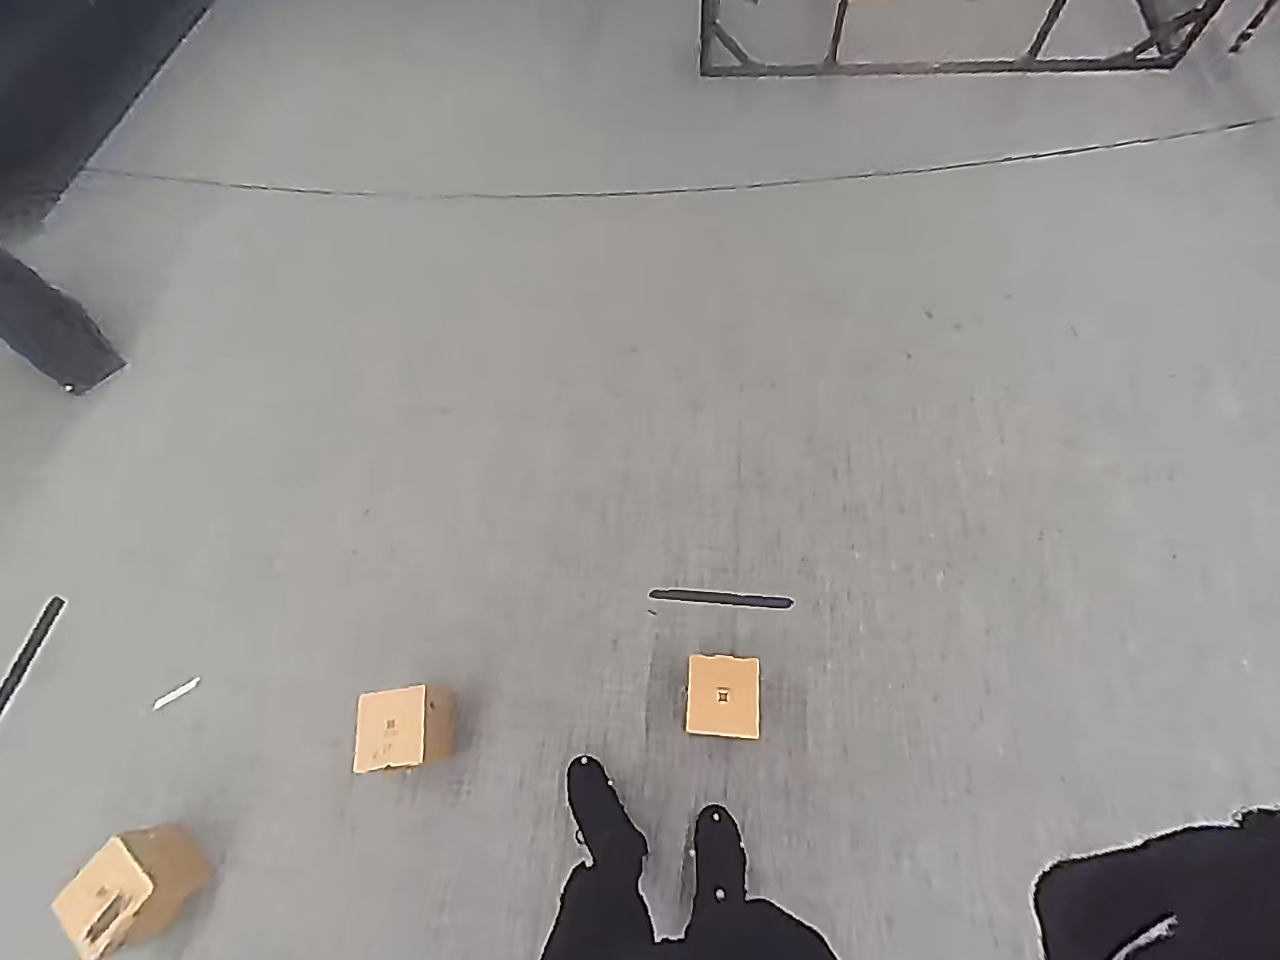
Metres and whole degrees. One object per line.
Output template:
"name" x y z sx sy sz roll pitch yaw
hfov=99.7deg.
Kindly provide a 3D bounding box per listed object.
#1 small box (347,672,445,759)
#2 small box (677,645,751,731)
"small box" -0.601 0.591 1.355 0.168 0.176 0.179 -8 66 1
"small box" 0.181 0.516 1.333 0.168 0.176 0.179 3 65 6
